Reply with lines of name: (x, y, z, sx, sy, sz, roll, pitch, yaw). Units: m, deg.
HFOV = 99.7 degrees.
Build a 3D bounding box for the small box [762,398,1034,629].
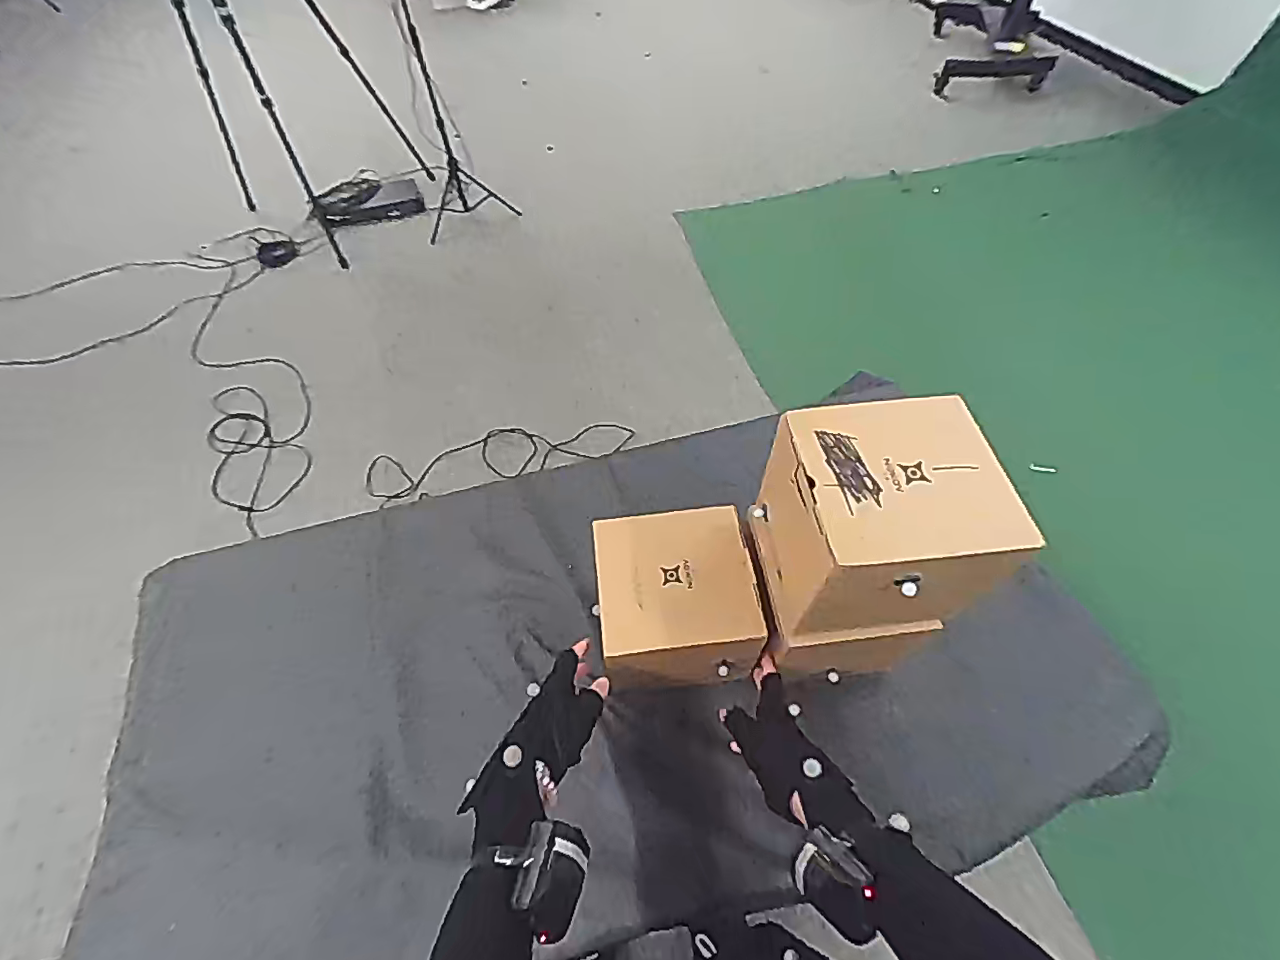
small box: (0.229, 0.041, 0.543, 0.179, 0.176, 0.168, -6, 57, -2)
